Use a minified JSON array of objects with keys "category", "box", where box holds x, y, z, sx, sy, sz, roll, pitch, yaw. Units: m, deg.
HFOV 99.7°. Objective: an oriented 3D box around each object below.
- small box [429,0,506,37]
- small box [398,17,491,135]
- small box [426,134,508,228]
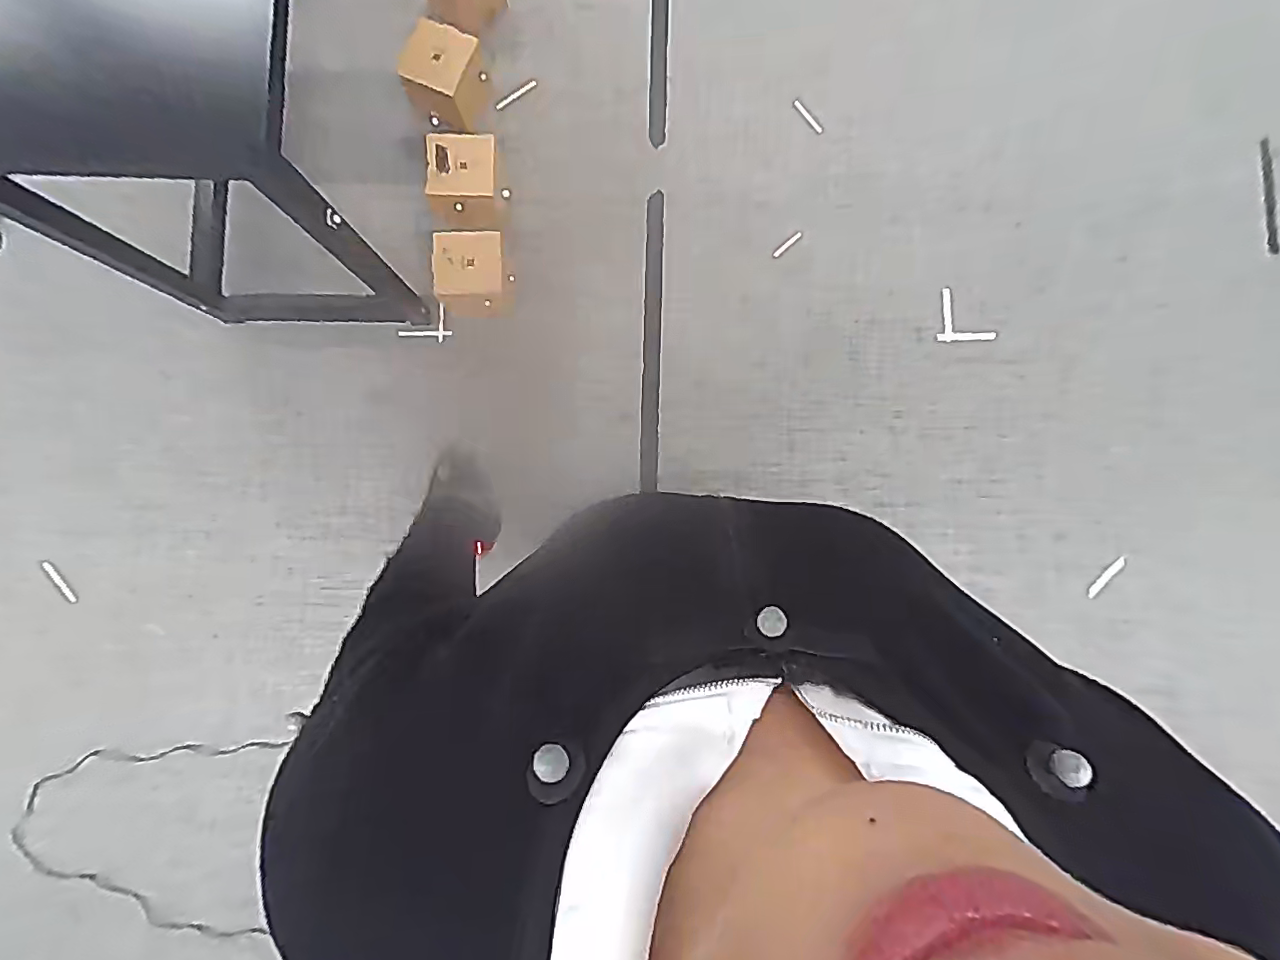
[{"category":"small box","box":[-0.504,-1.406,1.509,0.179,0.176,0.168,44,87,1]},{"category":"small box","box":[-0.530,-1.105,1.495,0.168,0.176,0.179,22,88,1]},{"category":"small box","box":[-0.467,-0.810,1.479,0.179,0.176,0.168,0,87,-3]}]
